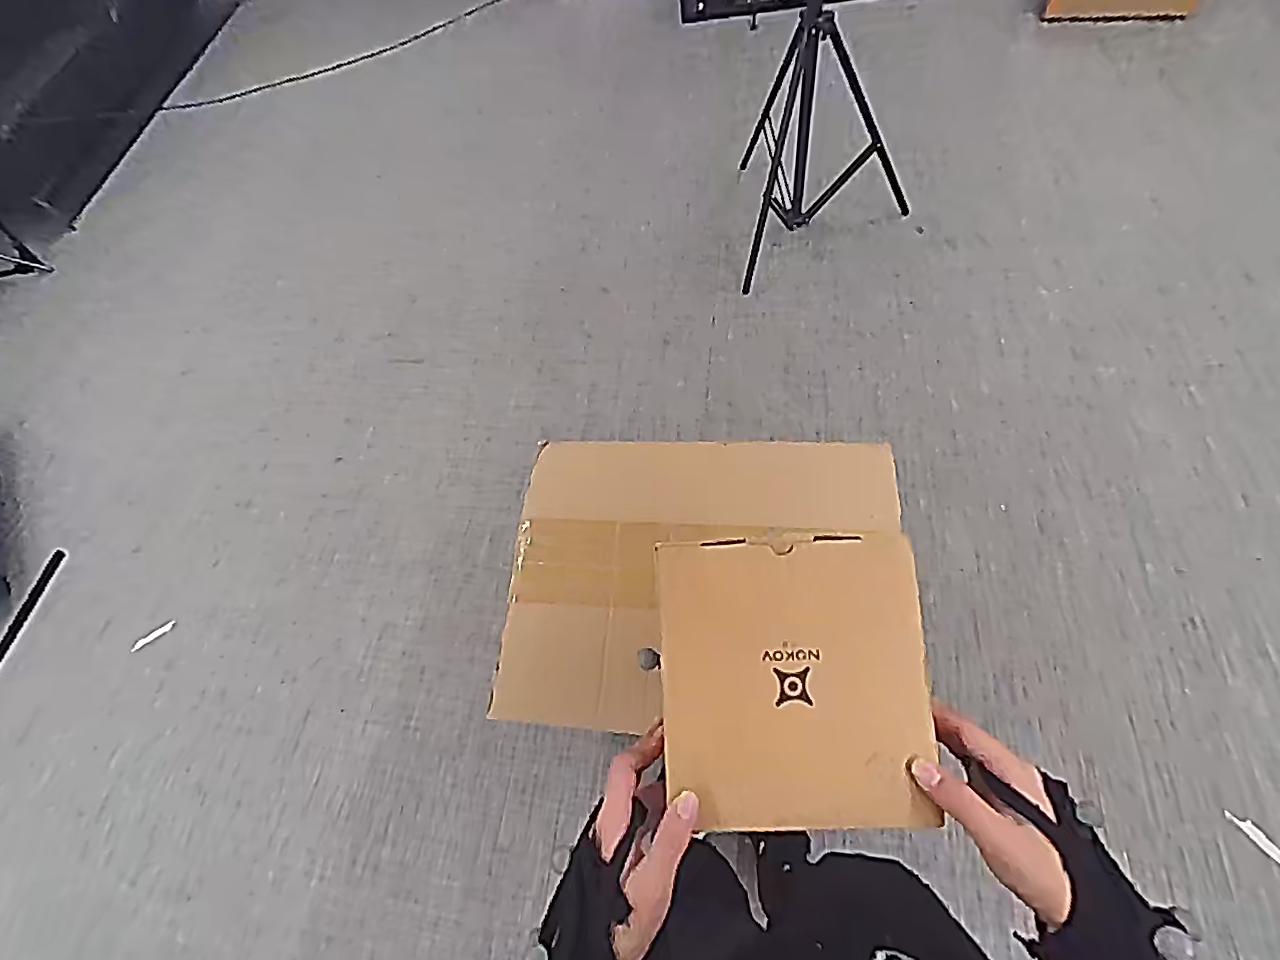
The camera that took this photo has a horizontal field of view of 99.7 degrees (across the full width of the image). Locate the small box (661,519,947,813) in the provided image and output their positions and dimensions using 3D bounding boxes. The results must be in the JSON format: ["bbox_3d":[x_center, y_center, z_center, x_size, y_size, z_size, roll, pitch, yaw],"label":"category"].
[{"bbox_3d":[0.103,0.125,0.415,0.168,0.176,0.179,-3,80,3],"label":"small box"}]
